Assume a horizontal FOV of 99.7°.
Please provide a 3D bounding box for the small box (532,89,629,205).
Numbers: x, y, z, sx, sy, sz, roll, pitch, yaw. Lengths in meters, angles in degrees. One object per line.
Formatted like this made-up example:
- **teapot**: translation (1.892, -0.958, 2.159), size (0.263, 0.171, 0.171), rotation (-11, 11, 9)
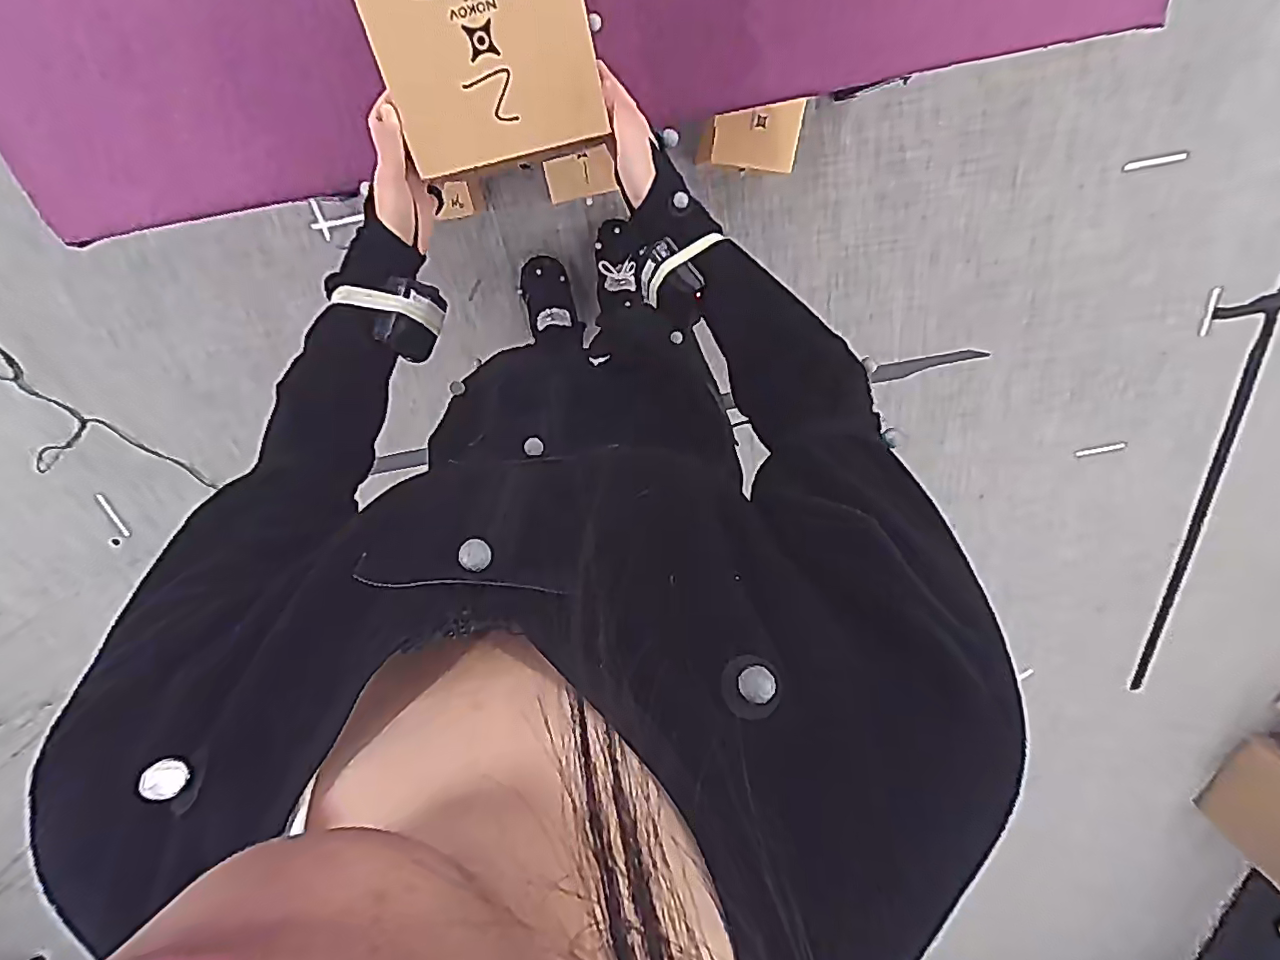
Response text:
- **small box**: translation (-0.122, -0.689, 1.137), size (0.168, 0.176, 0.179), rotation (-11, 119, 1)

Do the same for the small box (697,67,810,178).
- **small box**: translation (0.230, -0.745, 1.144), size (0.179, 0.176, 0.168), rotation (4, 117, -7)

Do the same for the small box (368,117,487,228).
- **small box**: translation (-0.434, -0.636, 1.135), size (0.168, 0.176, 0.179), rotation (-10, 116, -1)
